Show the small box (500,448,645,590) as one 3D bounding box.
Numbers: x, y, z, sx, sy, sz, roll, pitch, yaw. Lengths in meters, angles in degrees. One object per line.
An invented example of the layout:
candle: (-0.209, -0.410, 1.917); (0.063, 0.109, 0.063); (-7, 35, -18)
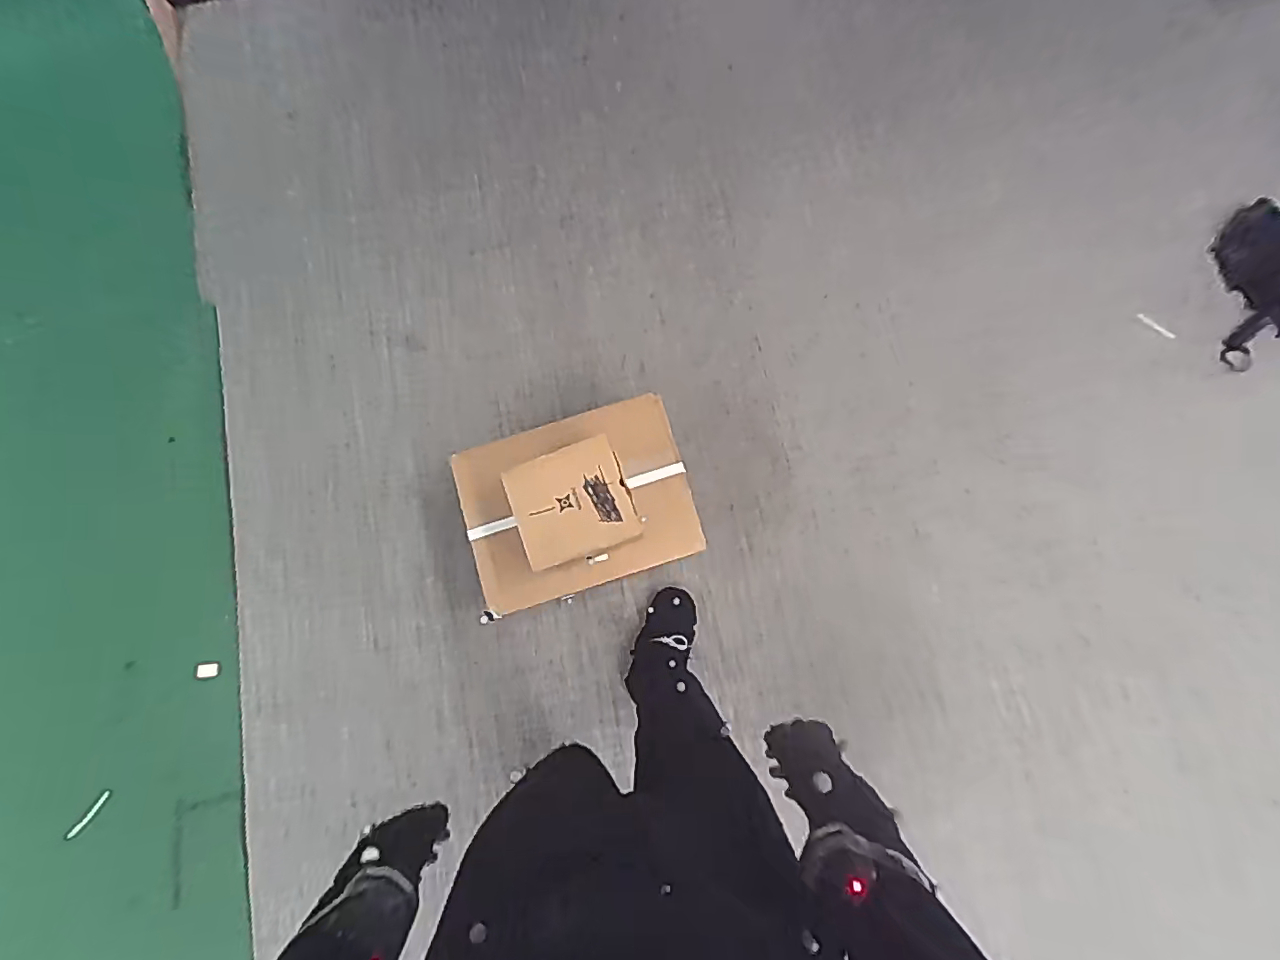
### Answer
small box: (-0.103, 0.068, 0.881); (0.179, 0.176, 0.168); (-23, 81, -4)
